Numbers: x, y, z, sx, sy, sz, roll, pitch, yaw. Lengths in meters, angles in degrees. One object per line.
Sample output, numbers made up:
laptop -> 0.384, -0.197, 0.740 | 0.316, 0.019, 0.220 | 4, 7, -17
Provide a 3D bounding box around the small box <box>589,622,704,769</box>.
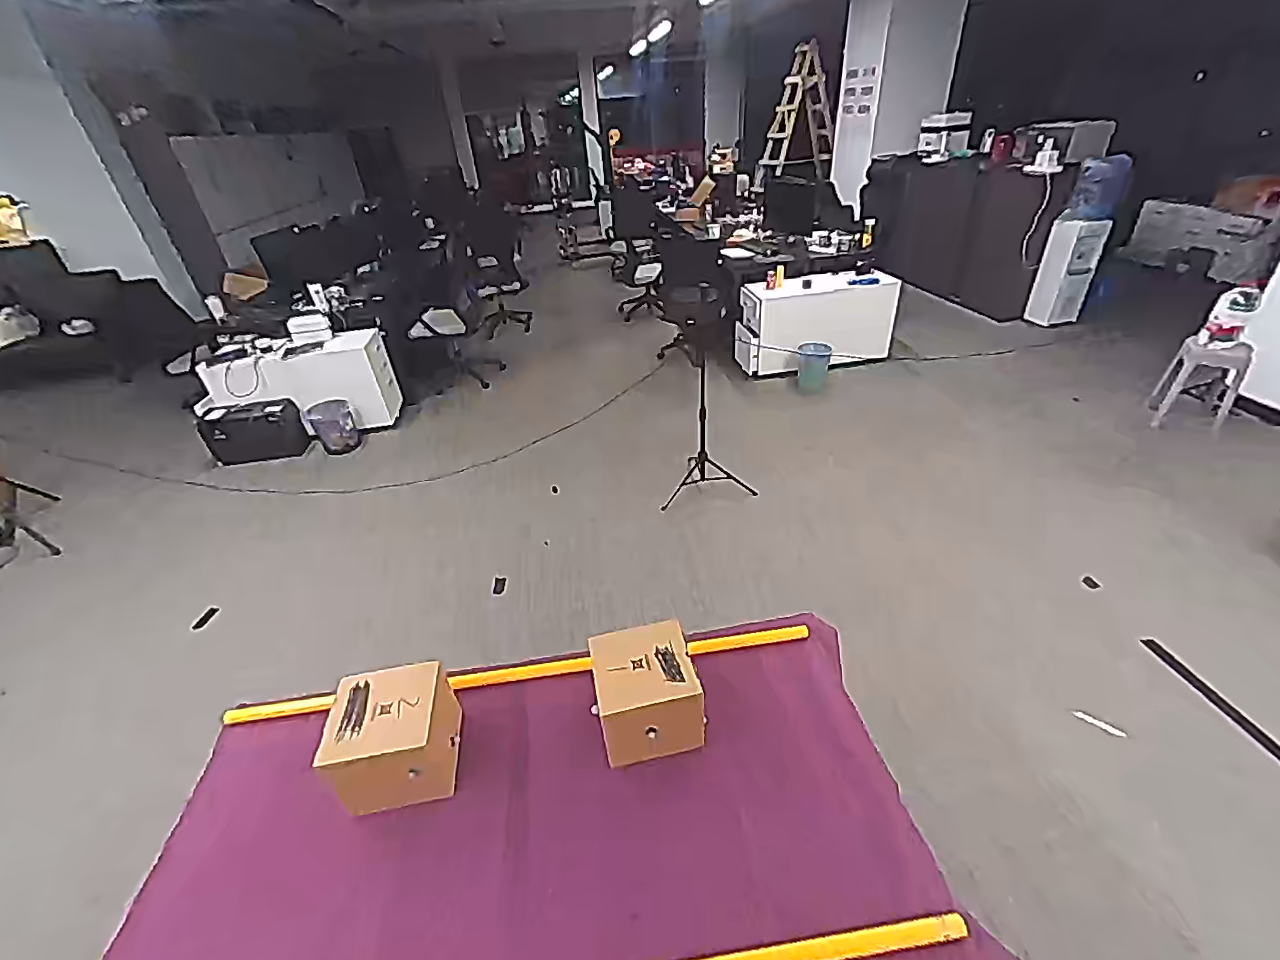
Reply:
small box -> 0.011, 0.389, 0.981 | 0.179, 0.176, 0.168 | -11, 35, -6
